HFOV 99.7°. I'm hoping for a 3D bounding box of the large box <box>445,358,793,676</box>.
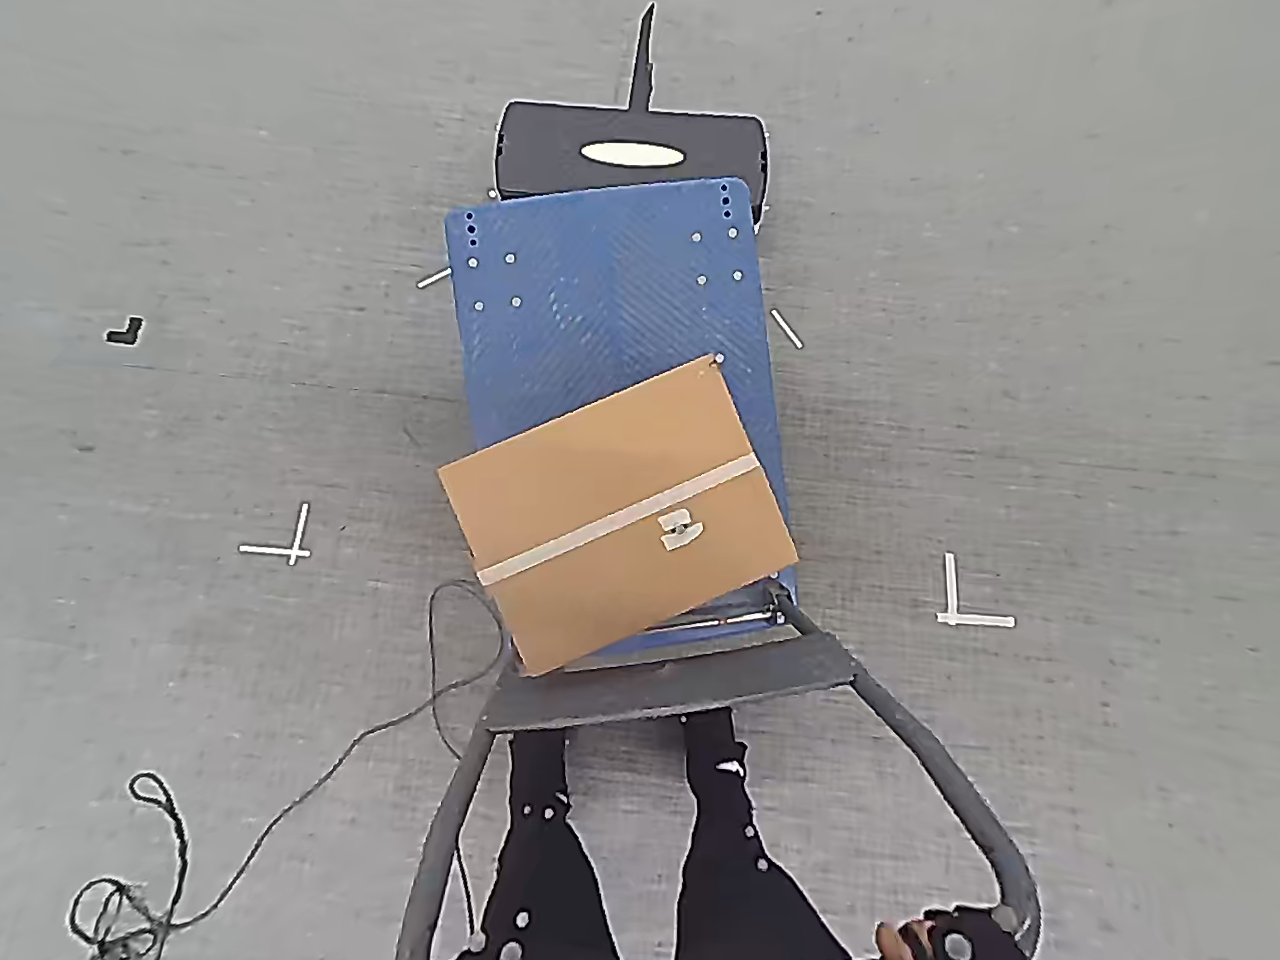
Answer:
[{"bbox_3d":[-0.034,0.048,0.887,0.408,0.320,0.320,-24,94,-3],"label":"large box"}]
